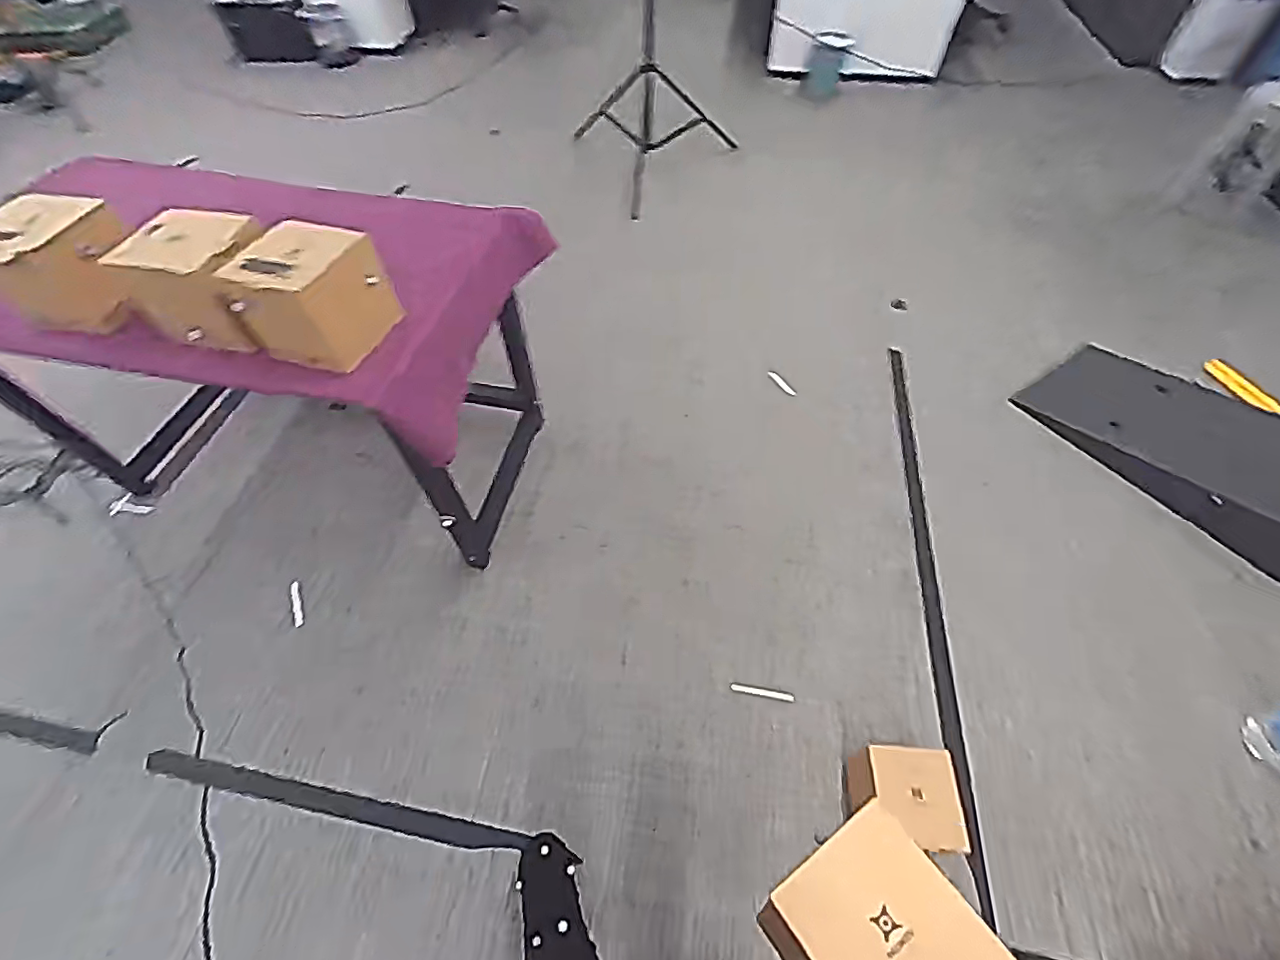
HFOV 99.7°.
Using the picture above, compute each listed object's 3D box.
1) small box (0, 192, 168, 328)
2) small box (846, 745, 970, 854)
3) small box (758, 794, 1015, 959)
[{"bbox_3d":[-1.047,-0.404,1.003,0.168,0.176,0.179,7,55,5],"label":"small box"},{"bbox_3d":[0.547,0.671,1.130,0.168,0.176,0.179,4,54,2],"label":"small box"},{"bbox_3d":[0.250,0.498,0.597,0.168,0.176,0.179,-28,51,-21],"label":"small box"}]
